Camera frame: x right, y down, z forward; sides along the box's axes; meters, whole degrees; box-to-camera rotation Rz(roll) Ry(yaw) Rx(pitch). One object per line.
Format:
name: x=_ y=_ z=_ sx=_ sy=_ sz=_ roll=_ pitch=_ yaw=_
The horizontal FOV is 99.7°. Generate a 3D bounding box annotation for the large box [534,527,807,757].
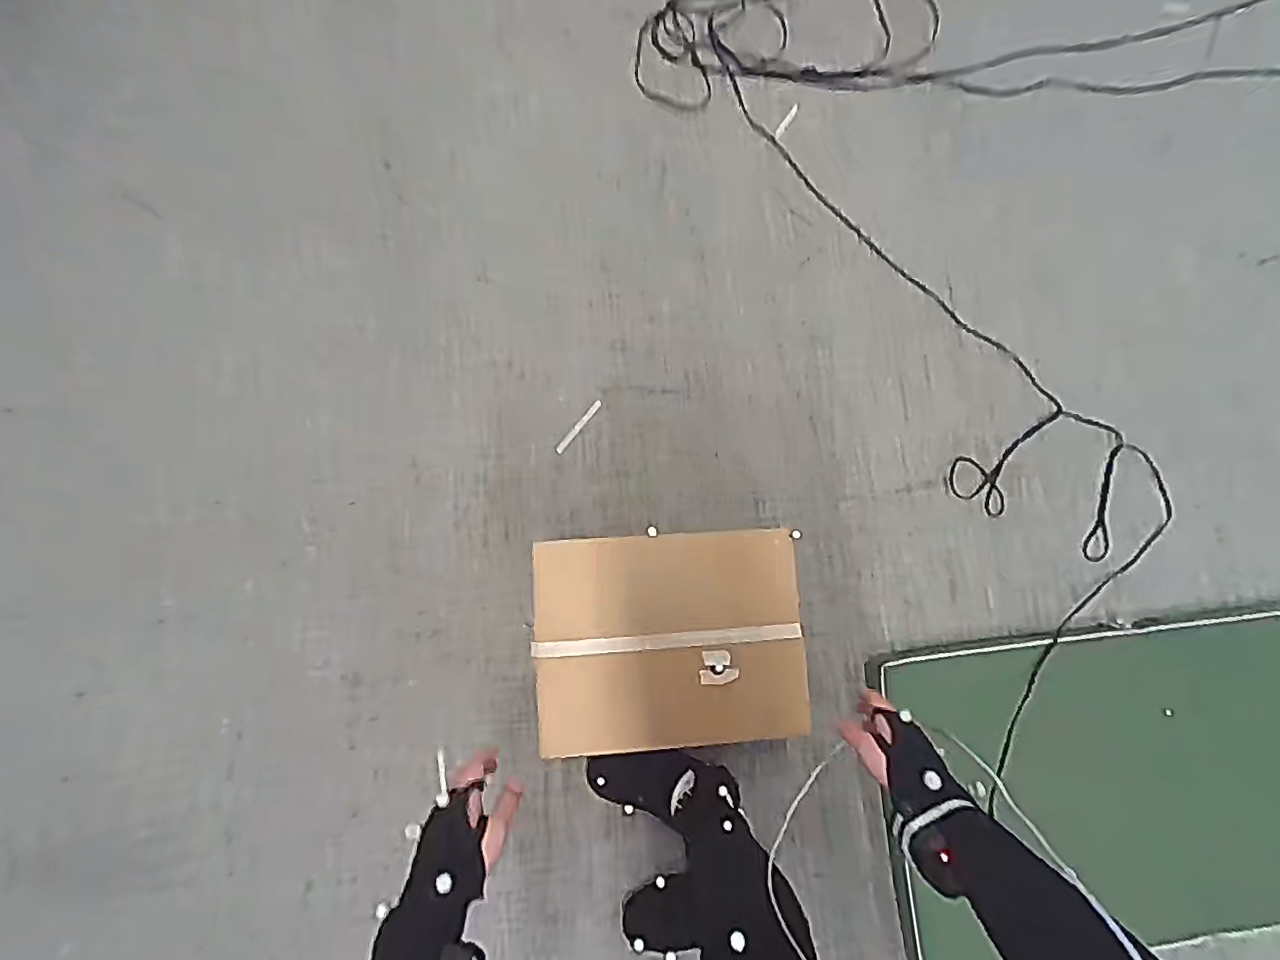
large box: x=0.031 y=0.260 z=0.966 sx=0.408 sy=0.320 sz=0.320 roll=-3 pitch=83 yaw=-6
